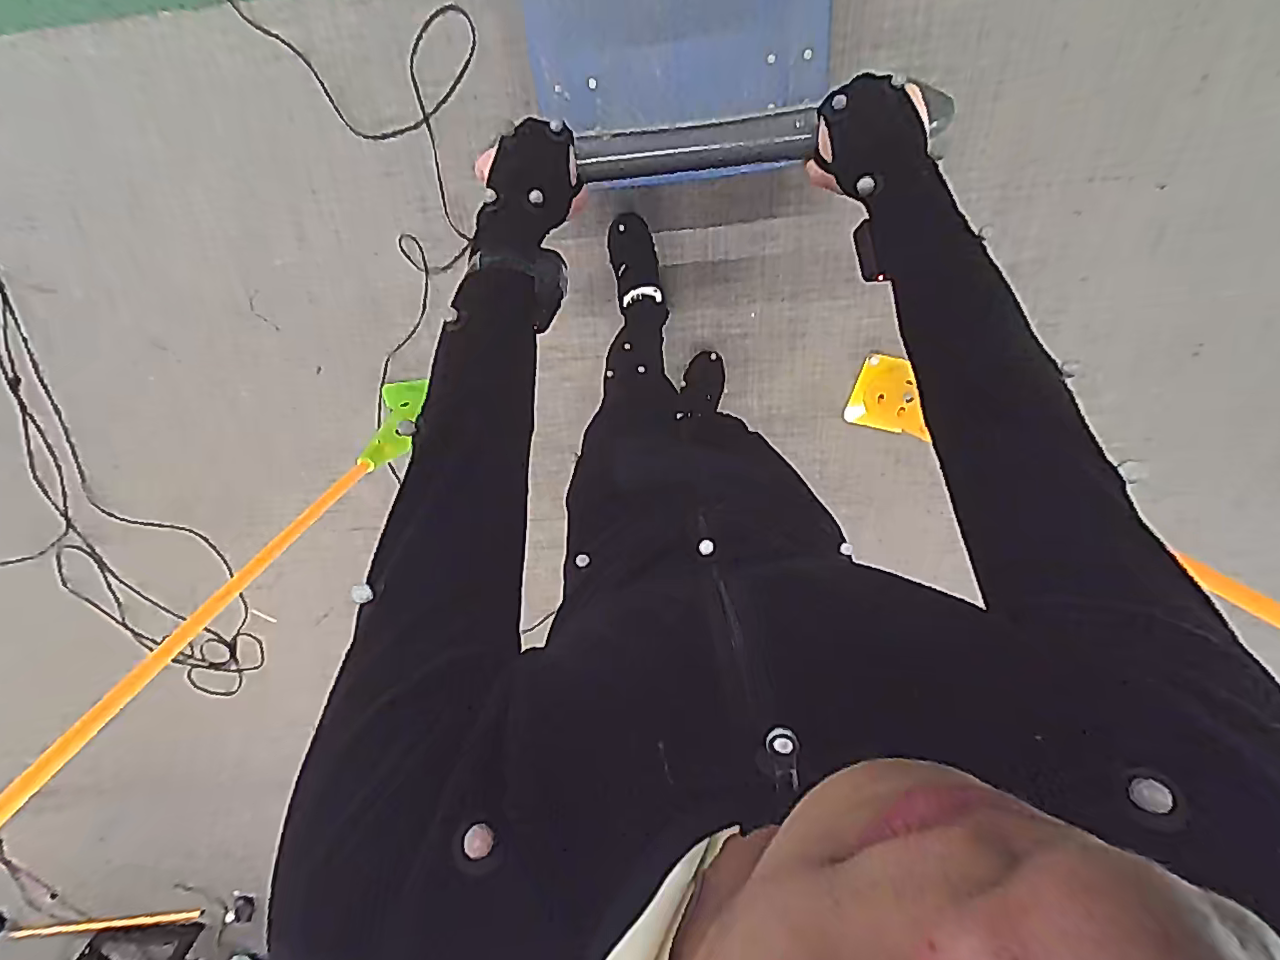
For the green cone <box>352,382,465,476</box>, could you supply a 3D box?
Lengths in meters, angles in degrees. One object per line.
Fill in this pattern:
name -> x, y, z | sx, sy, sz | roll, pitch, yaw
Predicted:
green cone -> -0.638, -0.108, 1.424 | 0.202, 0.368, 0.200 | -6, 115, 7
